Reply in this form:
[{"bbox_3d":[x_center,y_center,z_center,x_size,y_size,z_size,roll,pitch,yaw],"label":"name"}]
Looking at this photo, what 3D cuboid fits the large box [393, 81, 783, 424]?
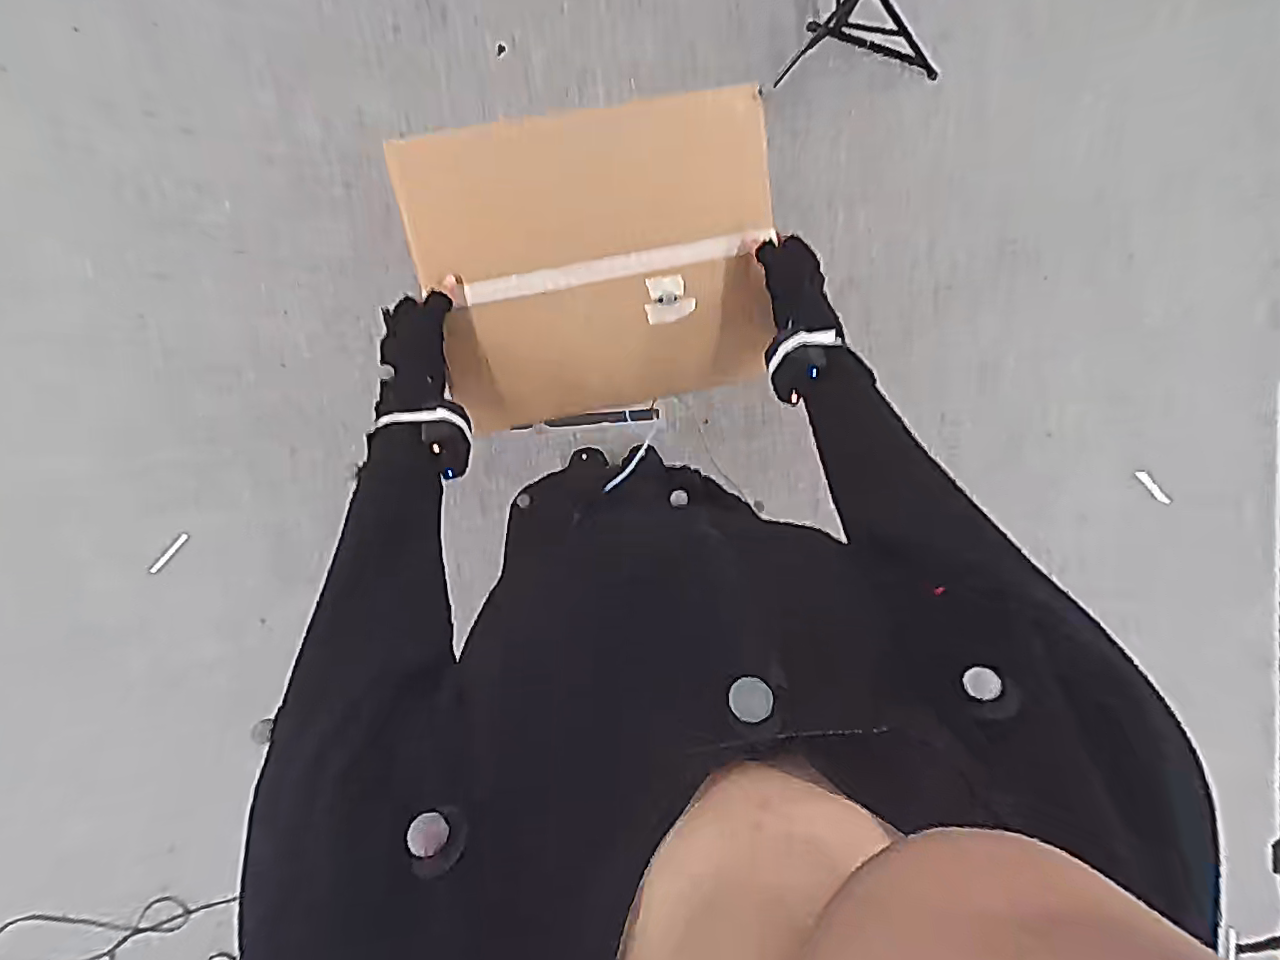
[{"bbox_3d":[-0.060,-0.289,0.759,0.408,0.320,0.320,-12,107,-4],"label":"large box"}]
